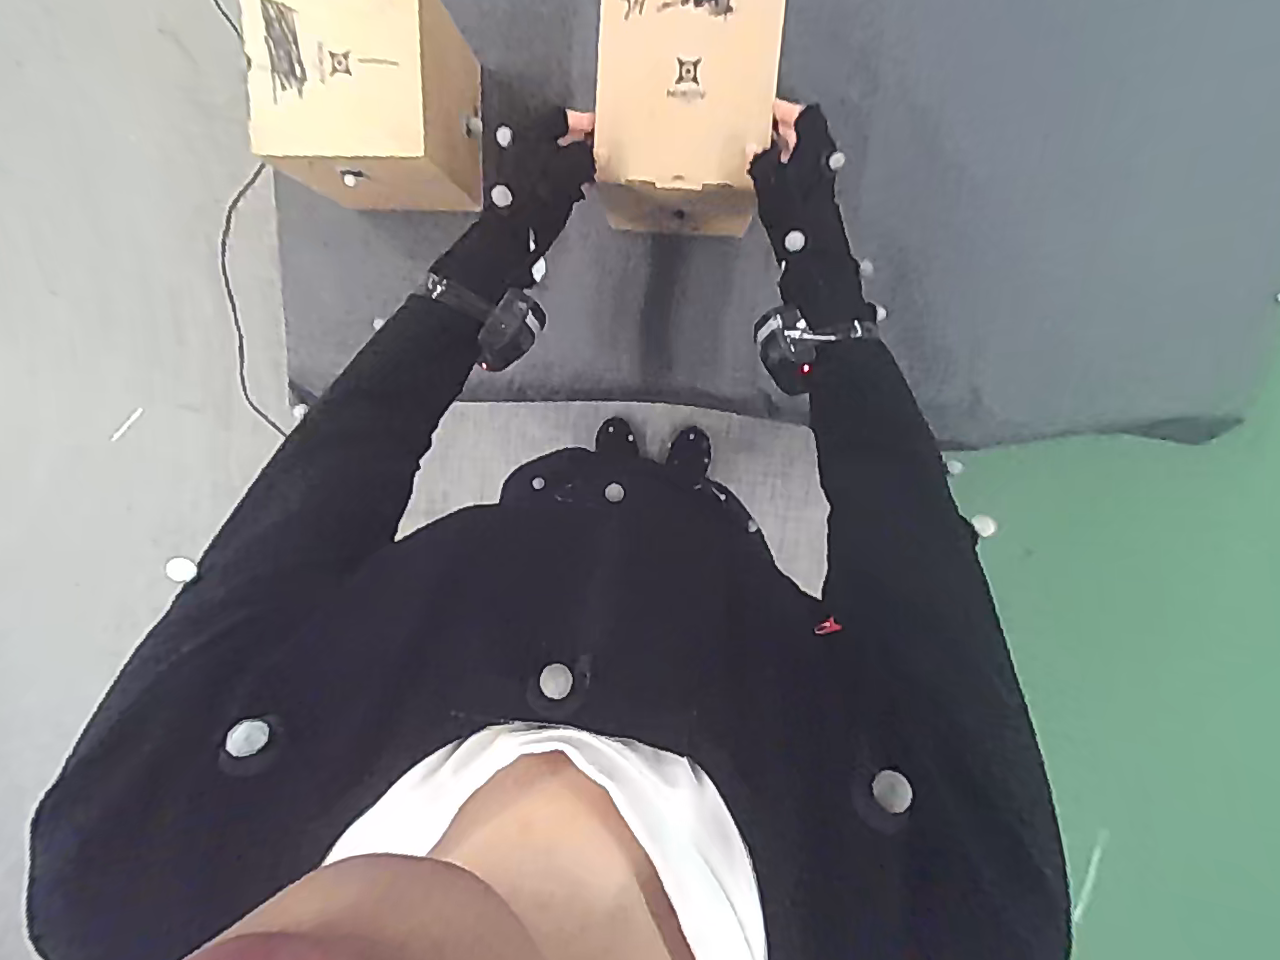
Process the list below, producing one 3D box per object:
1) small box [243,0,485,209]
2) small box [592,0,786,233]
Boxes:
[{"bbox_3d":[-0.282,-0.407,0.587,0.179,0.176,0.168,2,101,2],"label":"small box"},{"bbox_3d":[0.048,-0.374,0.571,0.168,0.176,0.179,5,101,3],"label":"small box"}]
